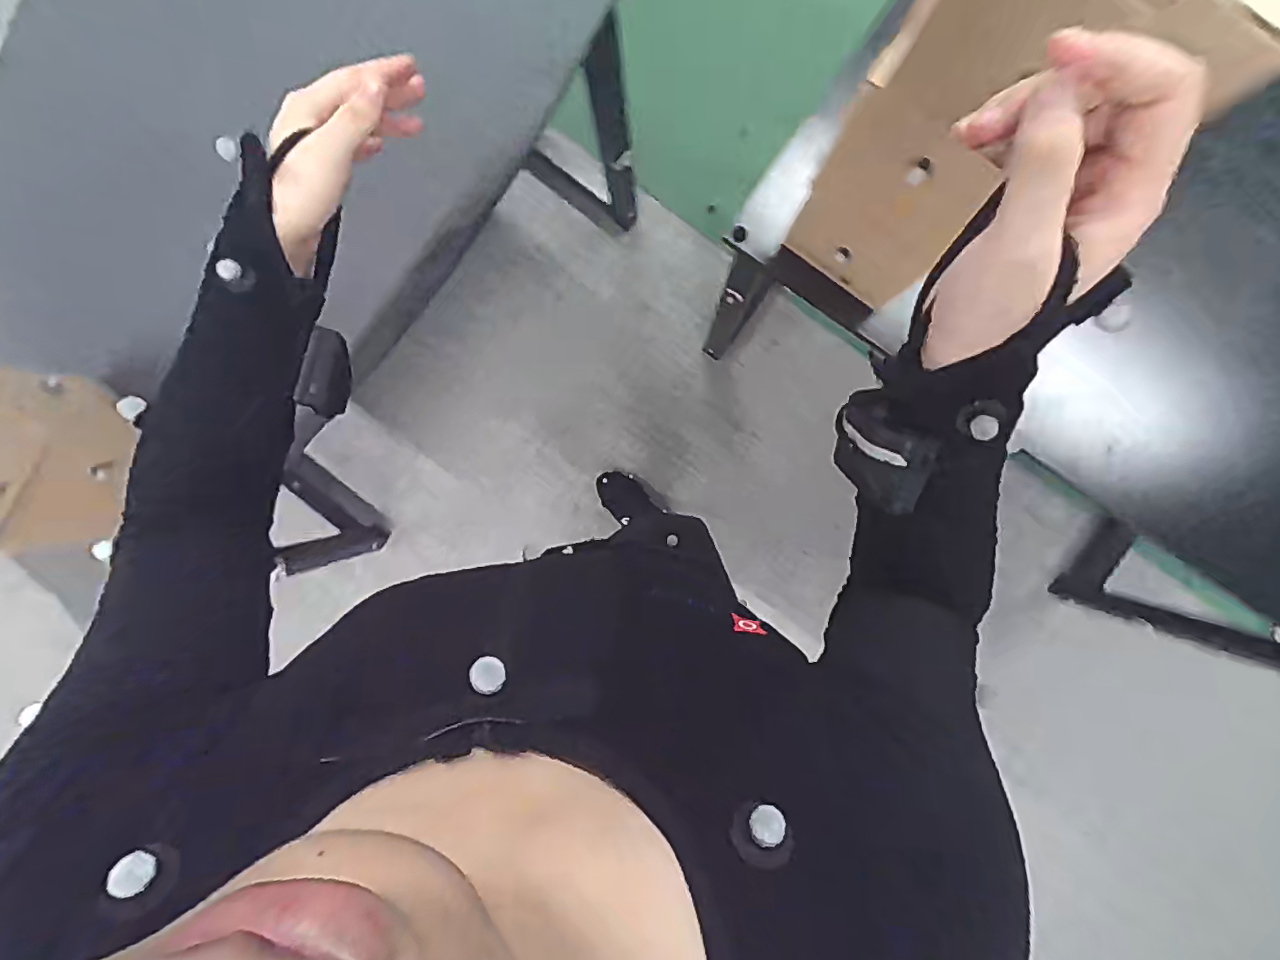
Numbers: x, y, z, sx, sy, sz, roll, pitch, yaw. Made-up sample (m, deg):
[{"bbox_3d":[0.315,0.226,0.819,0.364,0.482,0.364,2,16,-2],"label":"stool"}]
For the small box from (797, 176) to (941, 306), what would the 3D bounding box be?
[{"bbox_3d":[0.312,-0.341,0.653,0.168,0.176,0.179,37,92,0],"label":"small box"}]

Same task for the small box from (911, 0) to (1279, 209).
[{"bbox_3d":[0.300,-0.309,0.328,0.168,0.176,0.179,38,94,2],"label":"small box"}]

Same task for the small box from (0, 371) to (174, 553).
[{"bbox_3d":[-0.778,-0.028,0.712,0.168,0.176,0.179,37,93,4],"label":"small box"}]

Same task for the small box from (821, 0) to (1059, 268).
[{"bbox_3d":[0.300,-0.321,0.492,0.179,0.176,0.168,37,93,1],"label":"small box"}]
